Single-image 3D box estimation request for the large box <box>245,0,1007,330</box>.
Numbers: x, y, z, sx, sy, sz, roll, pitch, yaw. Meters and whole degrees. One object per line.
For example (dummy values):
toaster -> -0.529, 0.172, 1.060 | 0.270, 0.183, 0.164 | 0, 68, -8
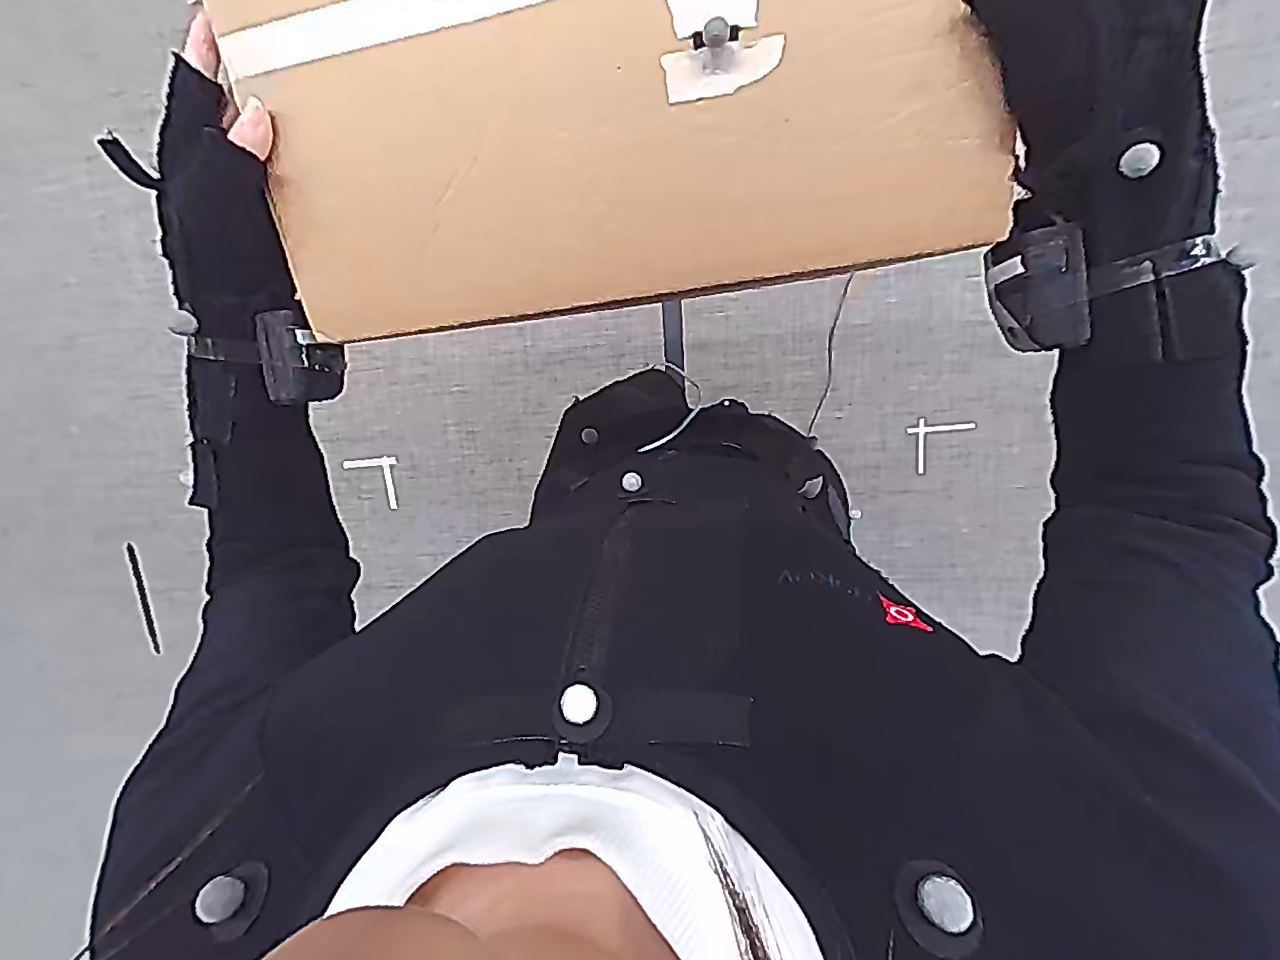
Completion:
large box -> -0.006, -0.310, 0.418 | 0.408, 0.320, 0.320 | -6, 109, 10
